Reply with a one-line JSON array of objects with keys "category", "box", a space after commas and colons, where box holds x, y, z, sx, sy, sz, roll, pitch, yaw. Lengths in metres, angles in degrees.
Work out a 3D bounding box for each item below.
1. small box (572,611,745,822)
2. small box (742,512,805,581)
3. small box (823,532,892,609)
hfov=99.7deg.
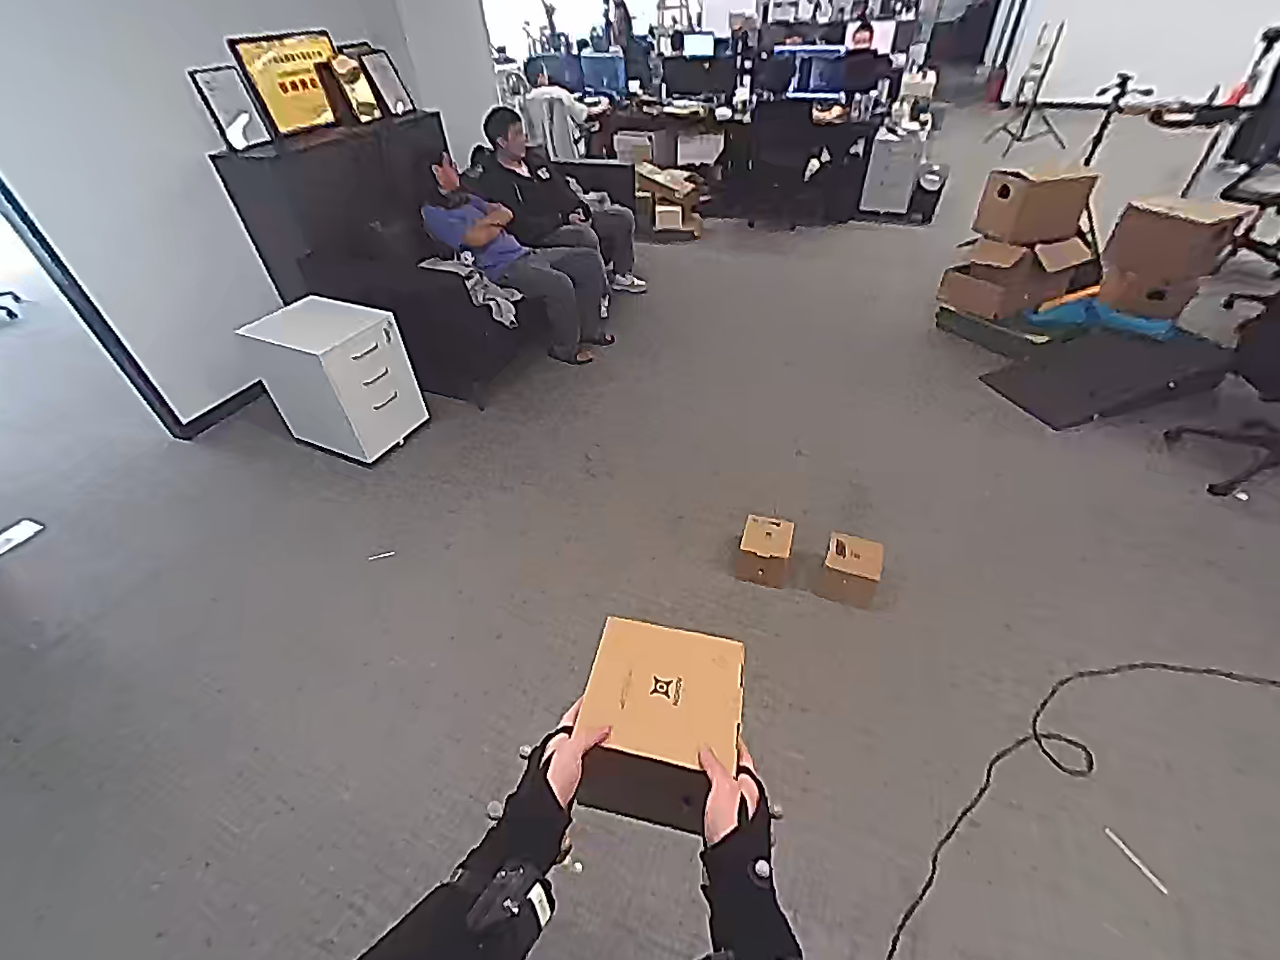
[{"category": "small box", "box": [0.027, 0.294, 0.673, 0.179, 0.176, 0.168, 8, 37, 9]}, {"category": "small box", "box": [0.474, 0.242, 1.940, 0.179, 0.176, 0.168, -10, 40, -5]}, {"category": "small box", "box": [0.737, 0.311, 1.847, 0.179, 0.176, 0.168, 16, 47, 22]}]
